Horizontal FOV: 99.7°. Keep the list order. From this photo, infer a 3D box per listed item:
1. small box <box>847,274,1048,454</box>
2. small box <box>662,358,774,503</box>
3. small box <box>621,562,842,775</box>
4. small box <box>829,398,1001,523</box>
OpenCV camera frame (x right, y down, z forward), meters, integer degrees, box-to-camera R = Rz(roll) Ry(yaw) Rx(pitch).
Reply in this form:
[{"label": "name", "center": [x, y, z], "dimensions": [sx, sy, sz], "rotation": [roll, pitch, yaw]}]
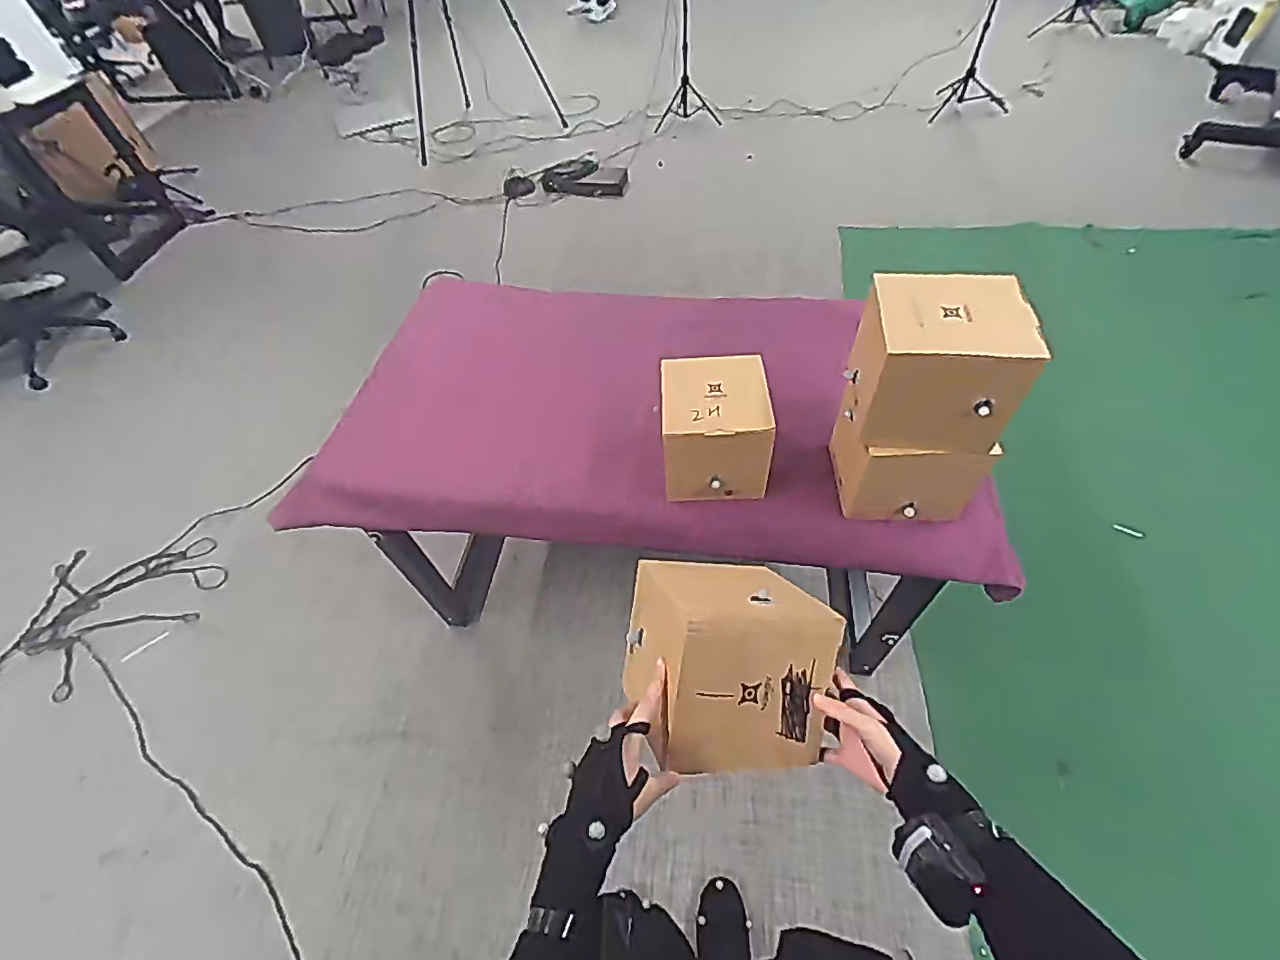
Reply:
[{"label": "small box", "center": [0.388, -0.151, 0.720], "dimensions": [0.179, 0.176, 0.168], "rotation": [4, 53, 10]}, {"label": "small box", "center": [0.121, -0.080, 0.900], "dimensions": [0.168, 0.176, 0.179], "rotation": [-2, 52, 5]}, {"label": "small box", "center": [0.090, 0.196, 0.605], "dimensions": [0.179, 0.168, 0.176], "rotation": [5, 8, -16]}, {"label": "small box", "center": [0.411, -0.045, 0.844], "dimensions": [0.179, 0.176, 0.168], "rotation": [0, 52, 6]}]
